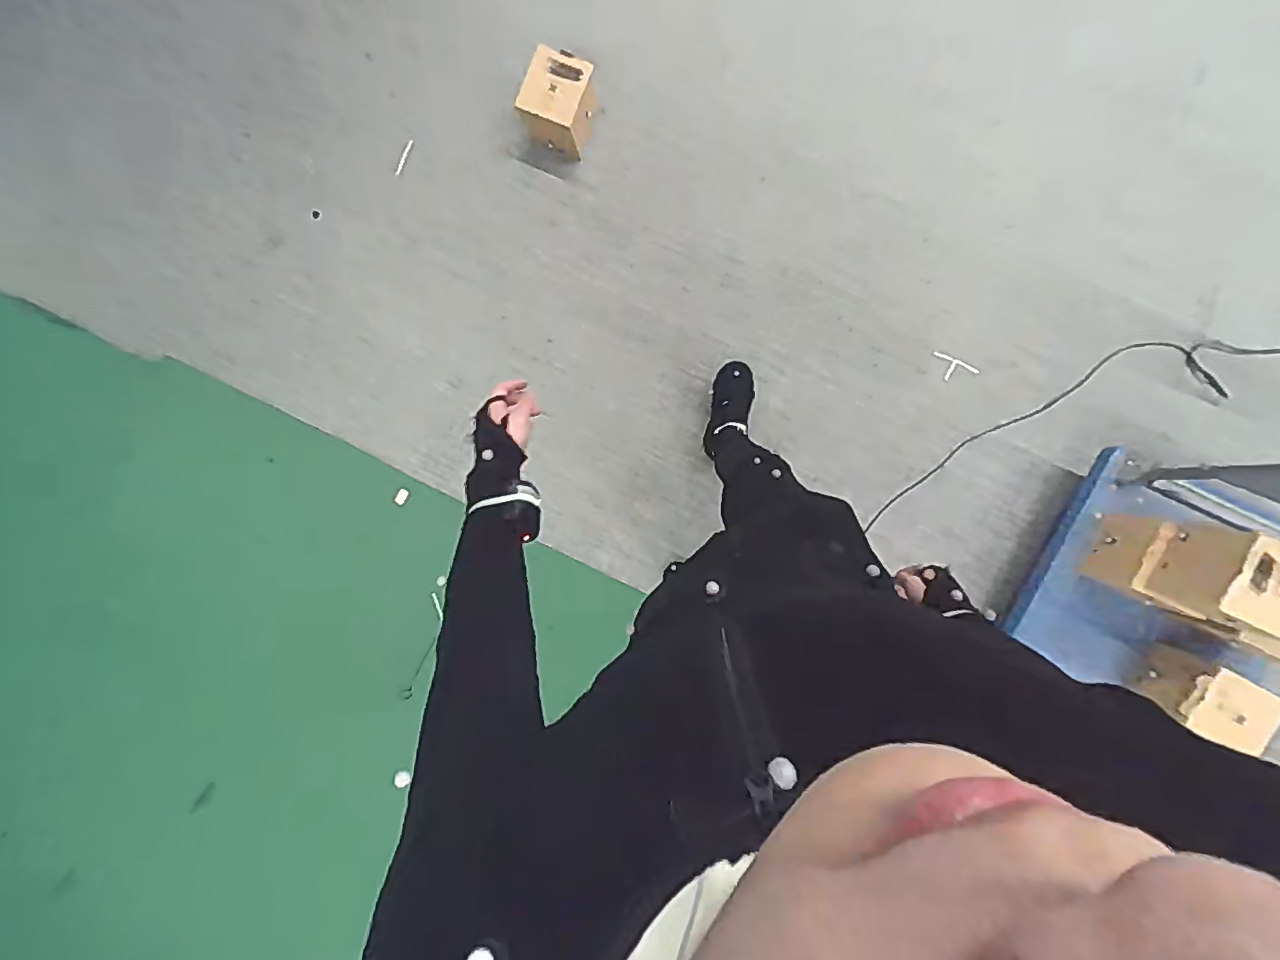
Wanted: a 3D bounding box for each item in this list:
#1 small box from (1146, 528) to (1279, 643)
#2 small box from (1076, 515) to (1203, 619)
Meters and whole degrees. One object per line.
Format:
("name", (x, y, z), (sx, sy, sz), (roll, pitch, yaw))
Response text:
("small box", (1.207, 0.209, 1.100), (0.179, 0.176, 0.168), (26, 94, 2))
("small box", (1.199, 0.194, 1.273), (0.179, 0.176, 0.168), (-34, 87, 4))
